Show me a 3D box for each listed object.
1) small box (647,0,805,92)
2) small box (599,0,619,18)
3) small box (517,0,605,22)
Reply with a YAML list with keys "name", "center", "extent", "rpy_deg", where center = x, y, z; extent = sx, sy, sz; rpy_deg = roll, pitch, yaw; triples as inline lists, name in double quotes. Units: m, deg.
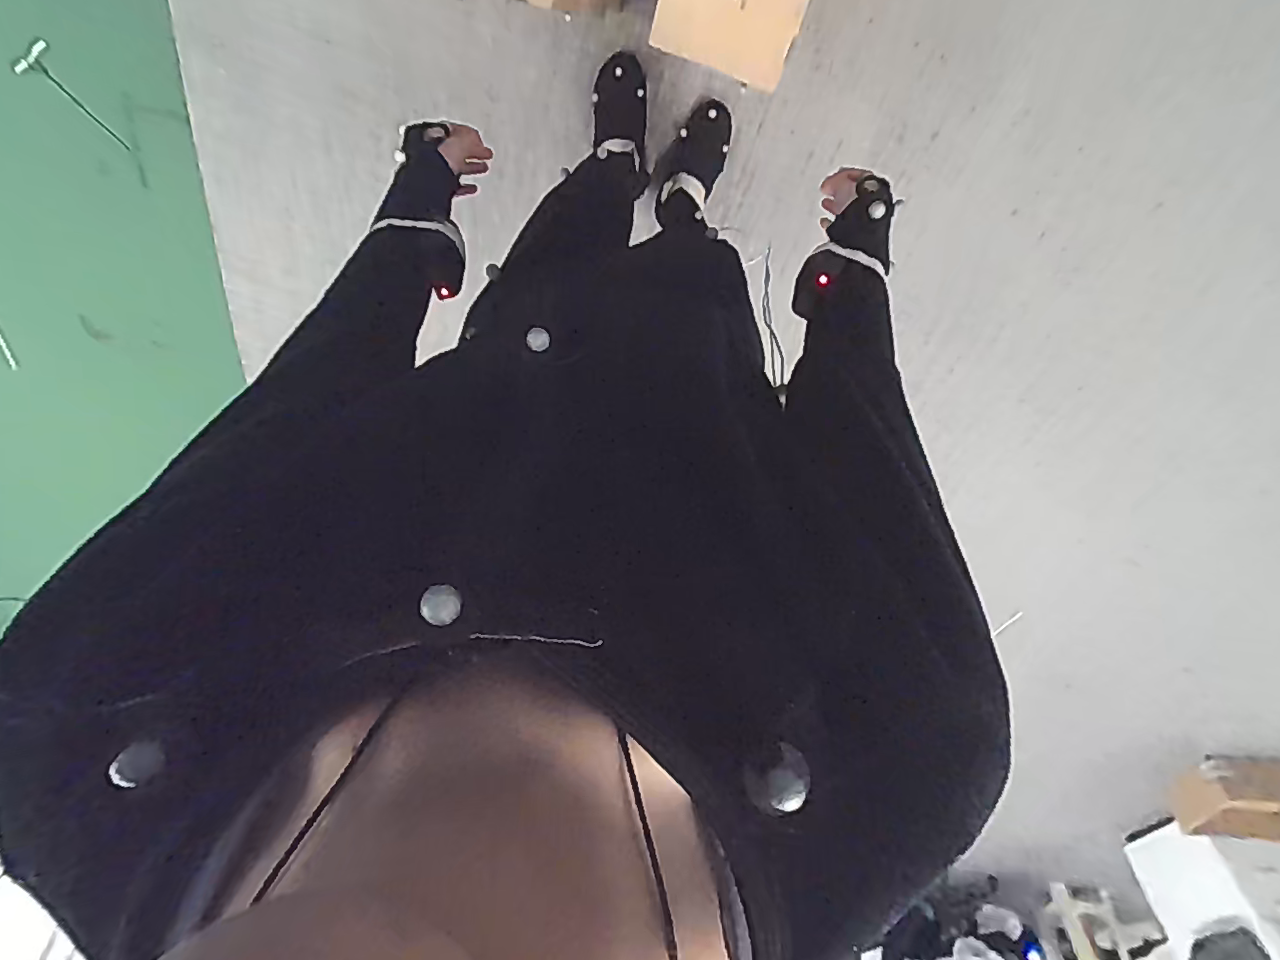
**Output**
- name: "small box"
  center: [0.121, -0.641, 0.715]
  extent: [0.179, 0.176, 0.168]
  rpy_deg: [17, 128, -6]
- name: "small box"
  center: [-0.117, -0.932, 0.940]
  extent: [0.179, 0.176, 0.168]
  rpy_deg: [15, 129, -3]
- name: "small box"
  center: [-0.136, -0.823, 0.820]
  extent: [0.179, 0.176, 0.168]
  rpy_deg: [15, 129, -2]
